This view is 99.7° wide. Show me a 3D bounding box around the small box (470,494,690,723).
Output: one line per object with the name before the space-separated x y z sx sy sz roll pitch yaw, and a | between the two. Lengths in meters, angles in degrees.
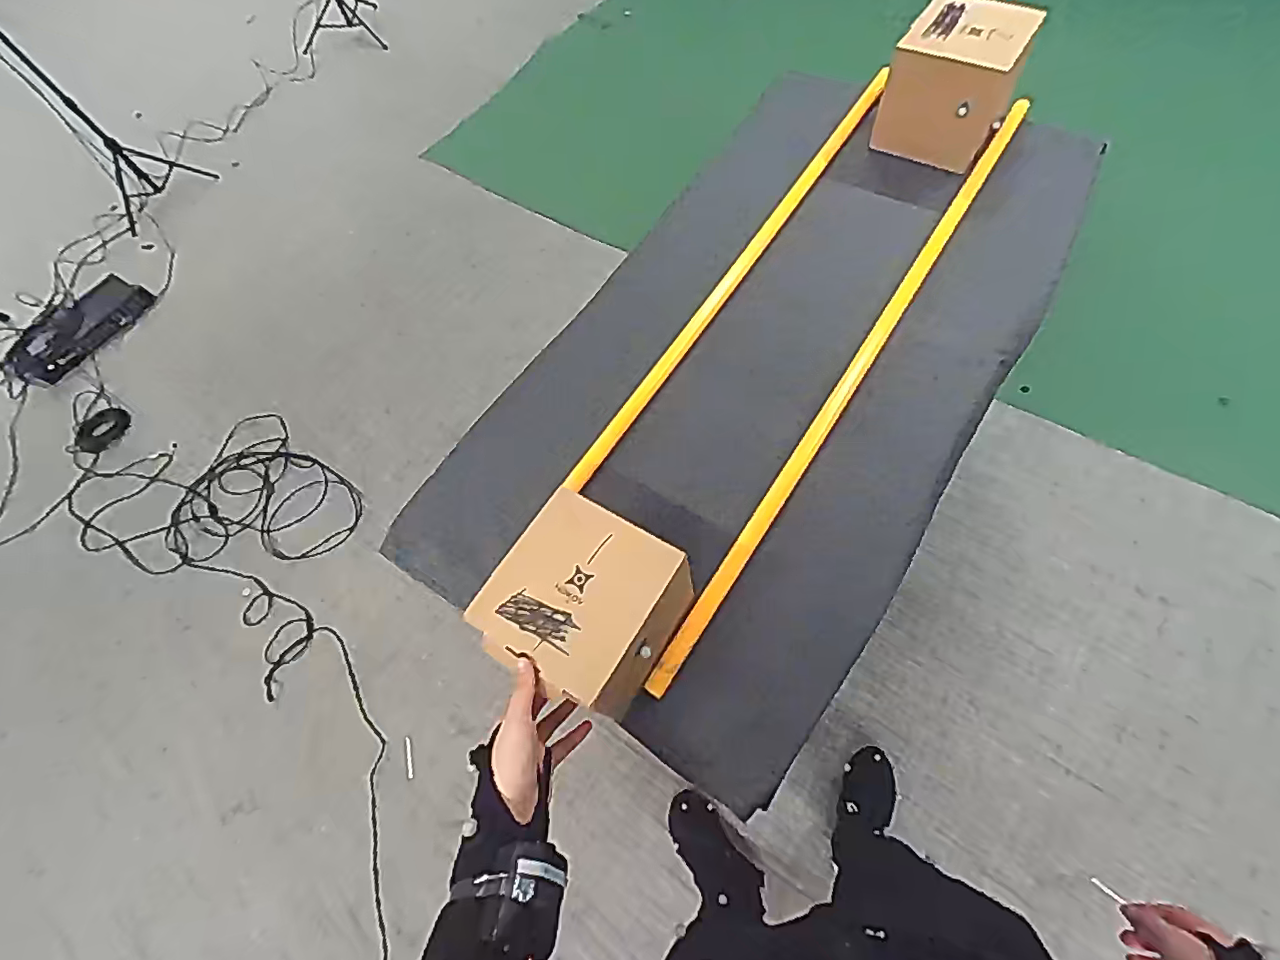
small box | -0.050 0.153 0.616 0.168 0.176 0.179 27 69 20
